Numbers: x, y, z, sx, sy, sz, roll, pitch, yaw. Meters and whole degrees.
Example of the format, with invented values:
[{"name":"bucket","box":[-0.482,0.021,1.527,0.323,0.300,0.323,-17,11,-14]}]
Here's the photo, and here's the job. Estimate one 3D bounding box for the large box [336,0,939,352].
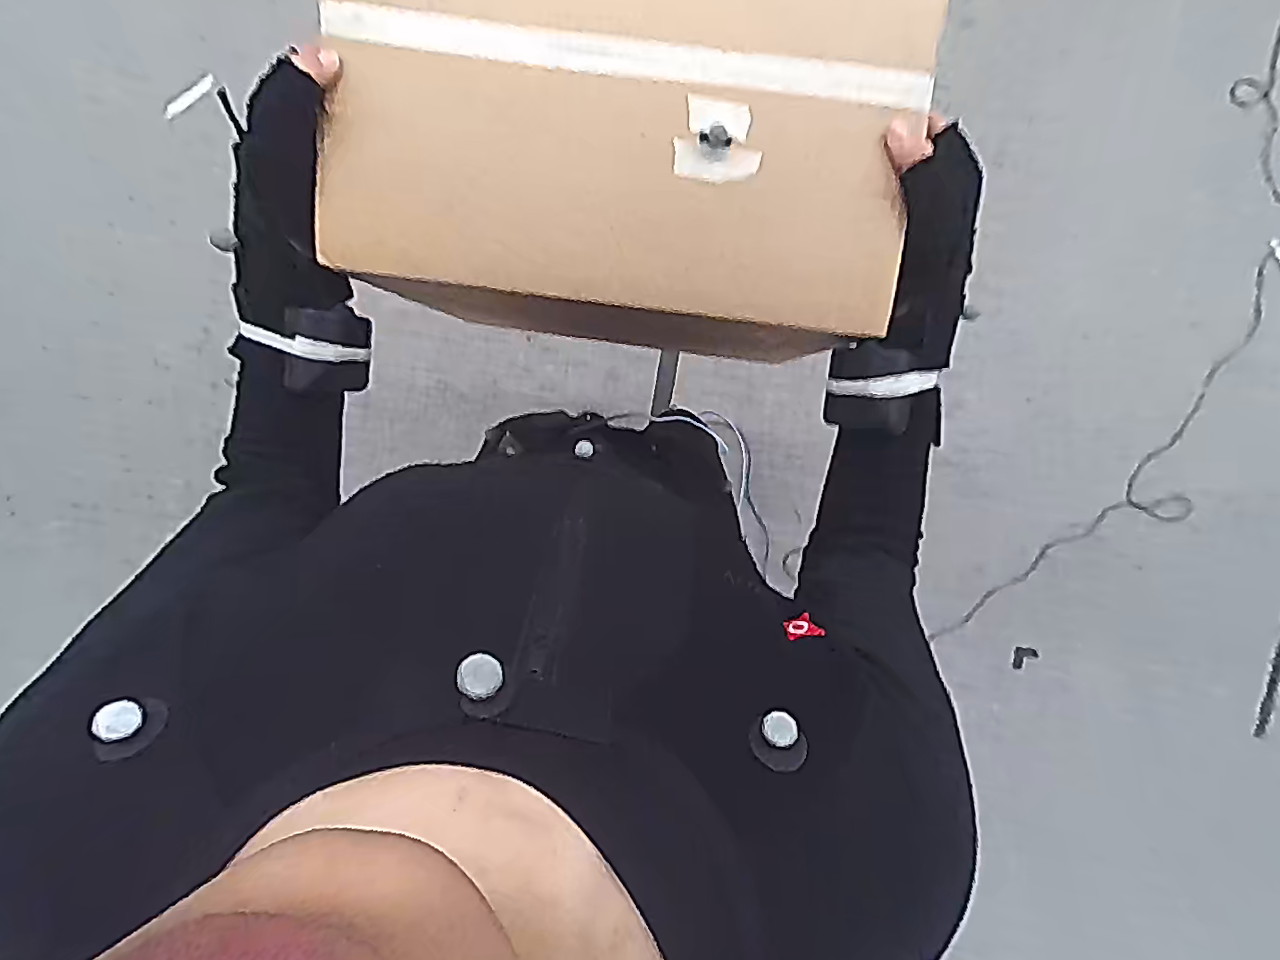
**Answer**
[{"name":"large box","box":[-0.006,-0.308,0.514,0.408,0.320,0.320,7,100,-1]}]
